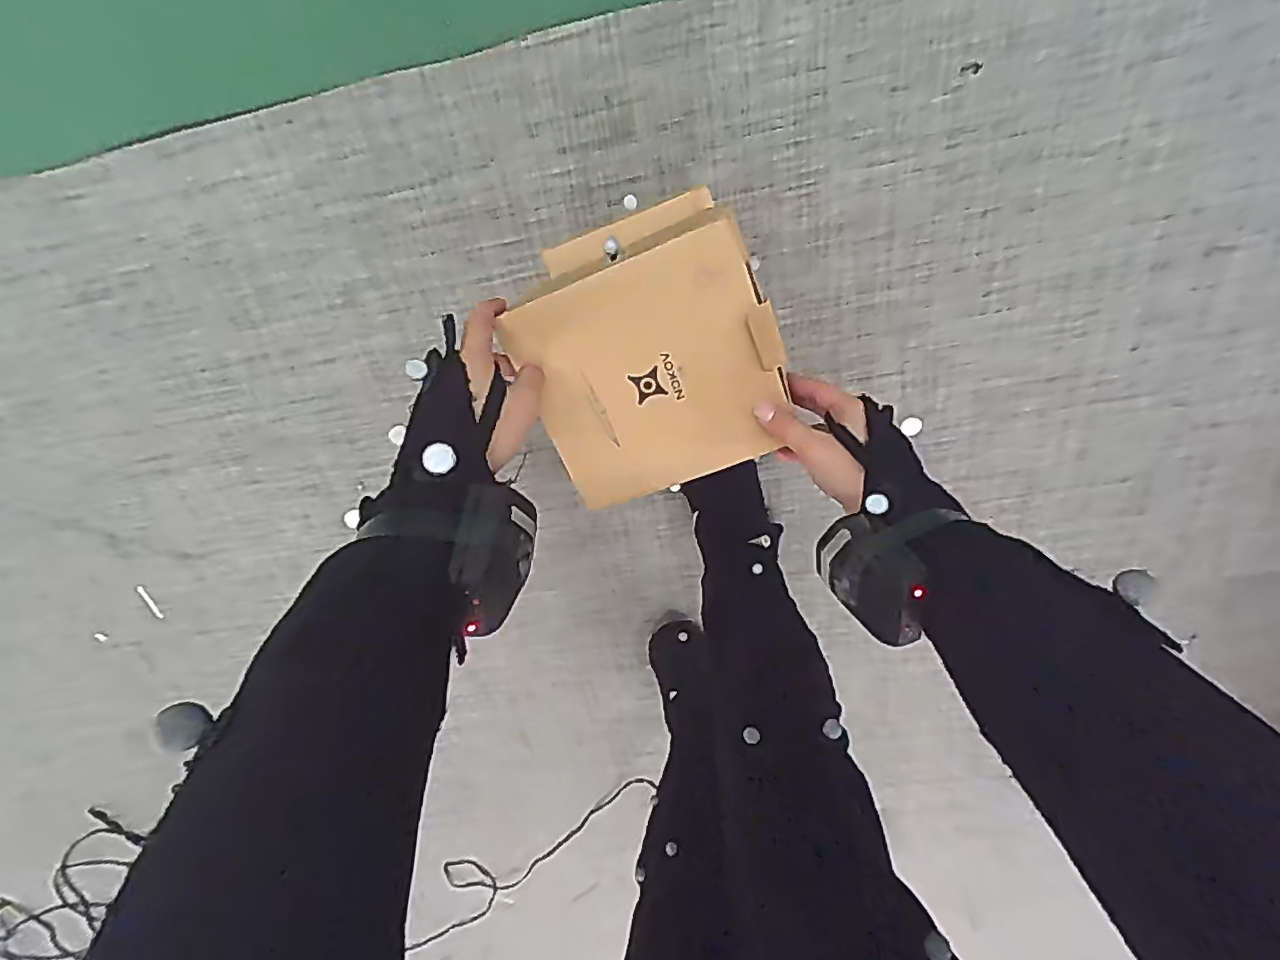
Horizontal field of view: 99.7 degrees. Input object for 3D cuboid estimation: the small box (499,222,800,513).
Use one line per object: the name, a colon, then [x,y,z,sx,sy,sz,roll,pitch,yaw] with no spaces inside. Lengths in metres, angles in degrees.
small box: [0.012,-0.104,0.458,0.179,0.176,0.168,-20,114,12]

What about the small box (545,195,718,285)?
small box: [0.017,-0.200,0.605,0.168,0.176,0.179,-17,115,11]
